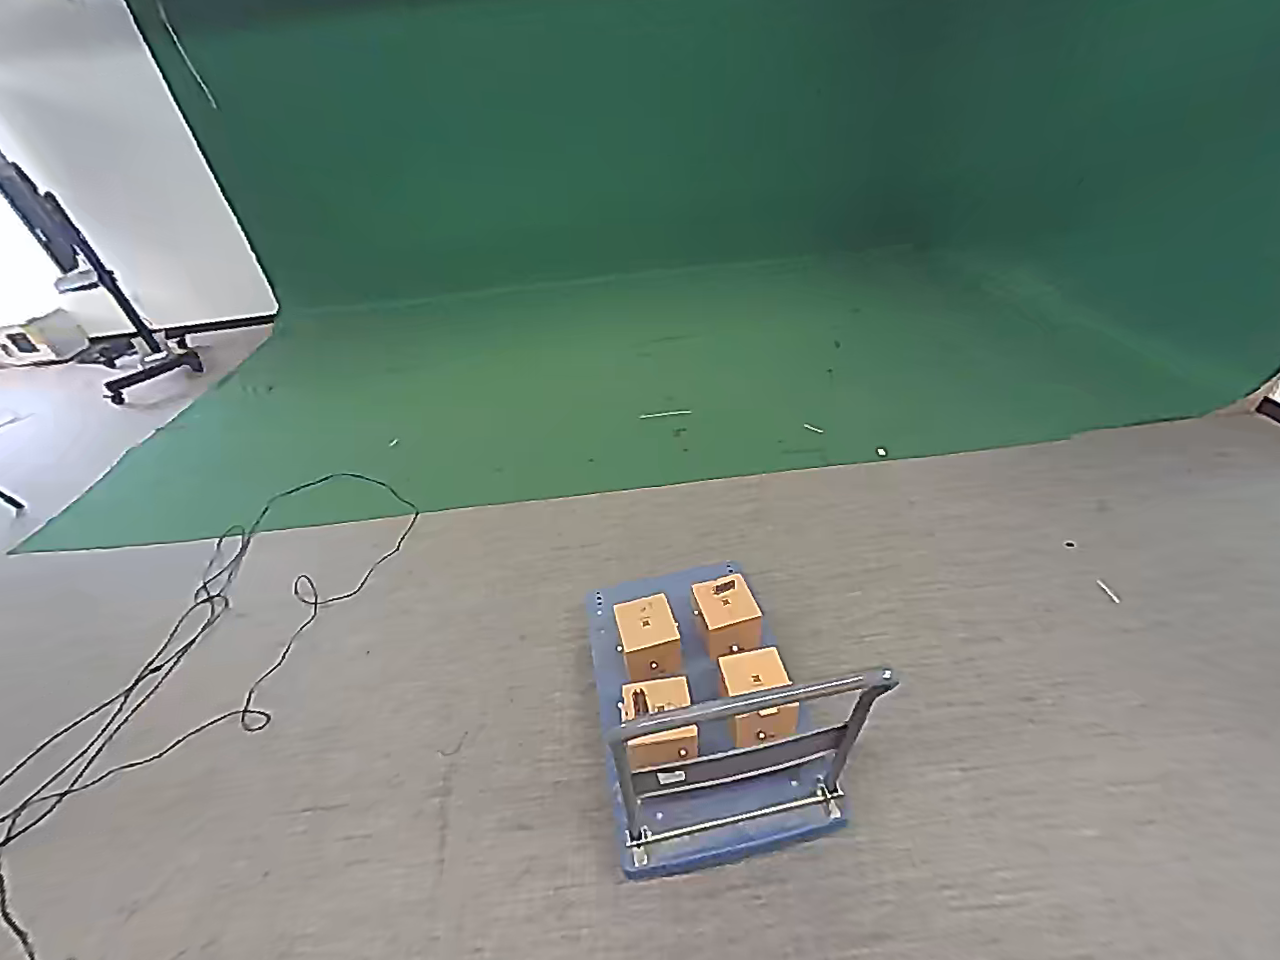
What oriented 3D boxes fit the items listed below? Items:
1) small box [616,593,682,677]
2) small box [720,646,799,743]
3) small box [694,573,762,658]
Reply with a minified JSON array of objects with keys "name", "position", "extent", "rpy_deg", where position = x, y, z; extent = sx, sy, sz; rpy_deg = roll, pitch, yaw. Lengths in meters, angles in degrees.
[{"name":"small box","position":[0.030,0.484,1.670],"extent":[0.168,0.176,0.179],"rpy_deg":[-12,39,-8]},{"name":"small box","position":[0.321,0.592,1.494],"extent":[0.168,0.176,0.179],"rpy_deg":[-10,39,-4]},{"name":"small box","position":[0.273,0.427,1.704],"extent":[0.168,0.176,0.179],"rpy_deg":[-13,40,-7]}]
